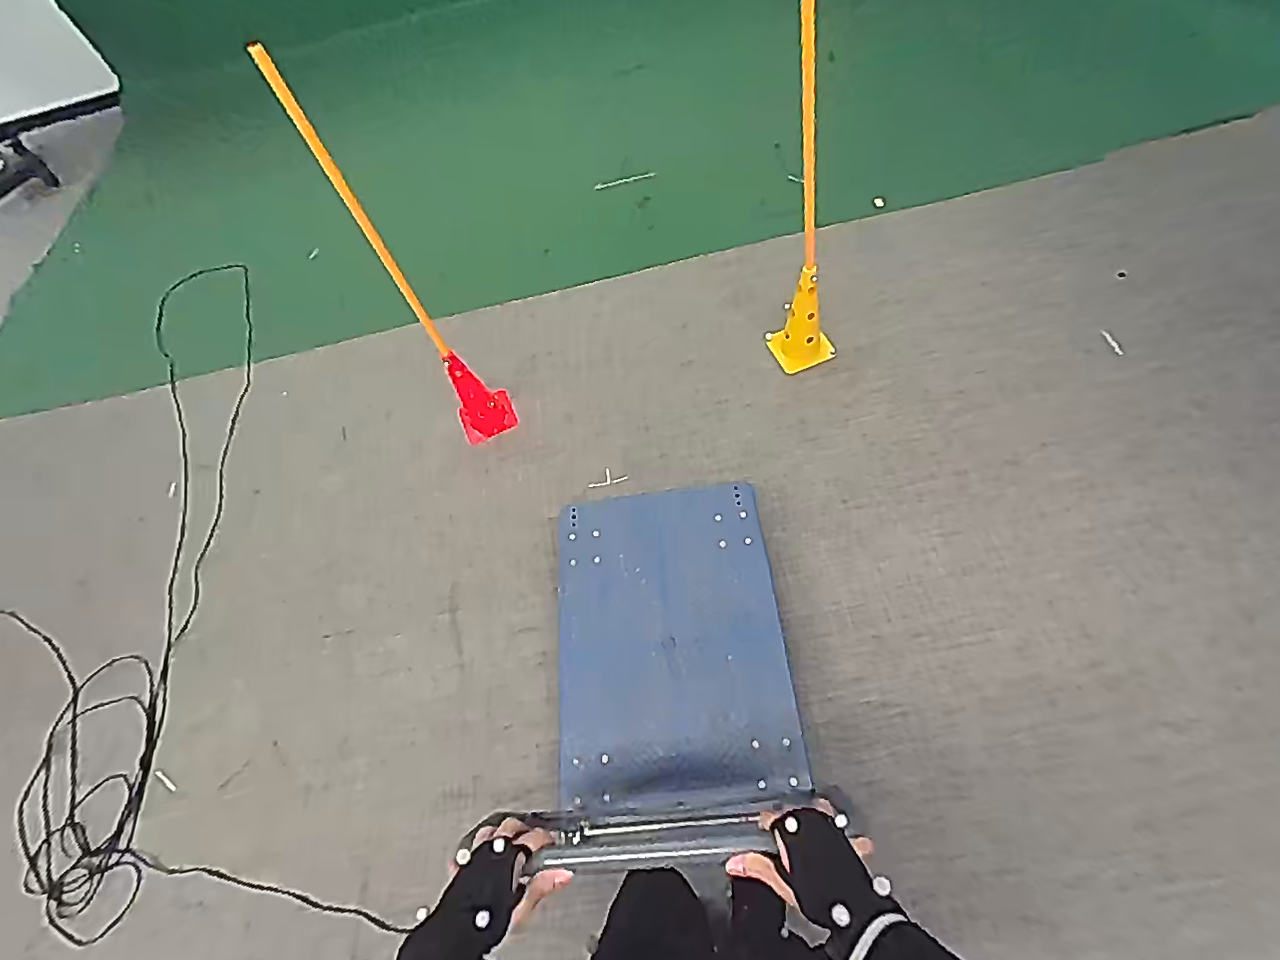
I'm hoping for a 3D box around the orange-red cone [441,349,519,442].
[{"bbox_3d":[-0.596,-0.324,1.896,0.199,0.360,0.198,-25,60,-3],"label":"orange-red cone"}]
